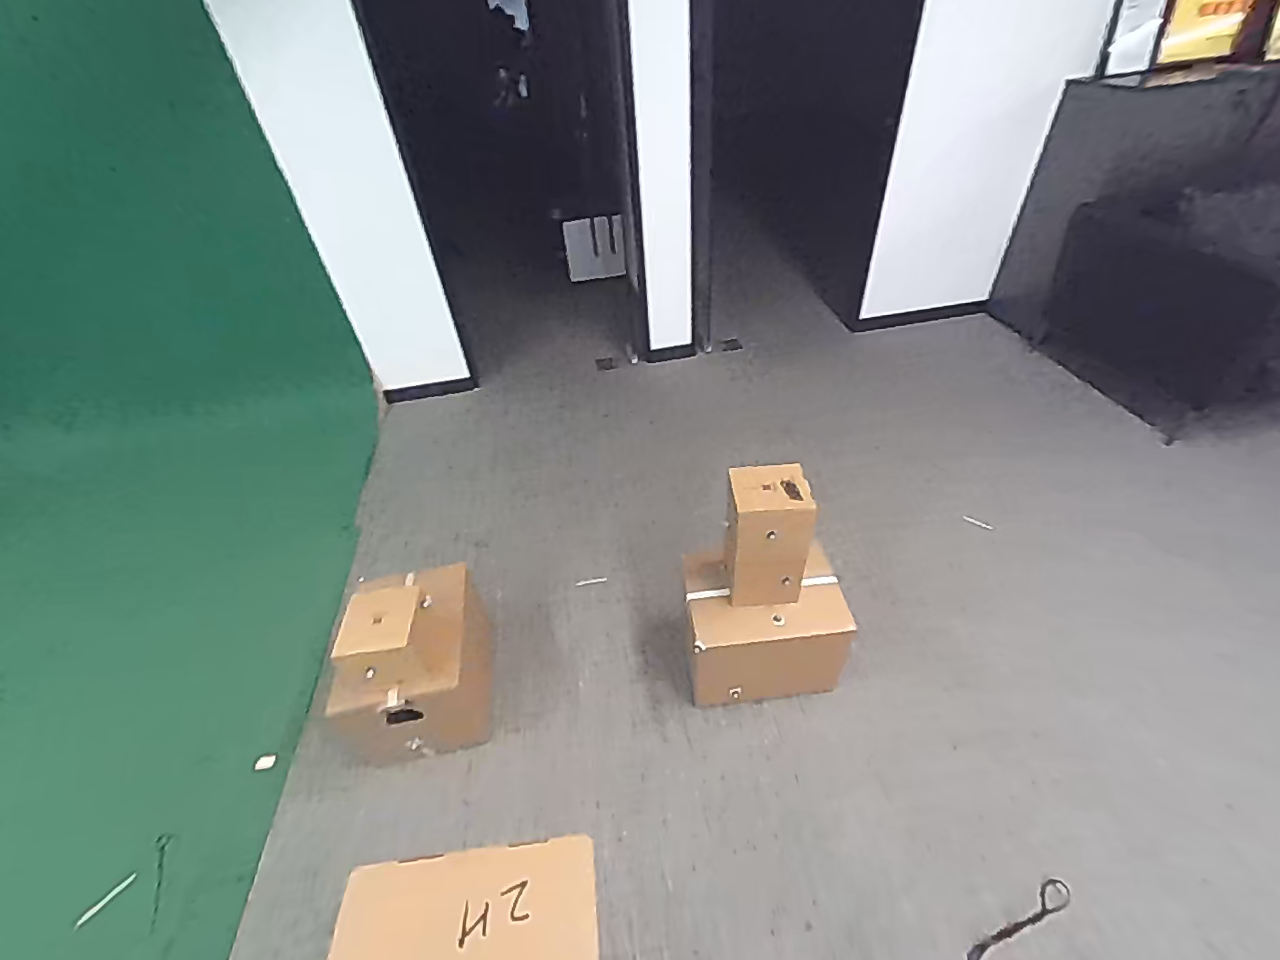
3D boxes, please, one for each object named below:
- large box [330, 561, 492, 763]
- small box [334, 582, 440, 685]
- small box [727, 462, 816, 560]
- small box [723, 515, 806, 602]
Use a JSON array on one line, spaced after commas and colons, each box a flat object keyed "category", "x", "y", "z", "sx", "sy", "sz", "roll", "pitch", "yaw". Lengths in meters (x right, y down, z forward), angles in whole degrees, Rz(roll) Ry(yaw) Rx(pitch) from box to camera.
[{"category": "large box", "x": -0.611, "y": 0.505, "z": 1.528, "sx": 0.320, "sy": 0.320, "sz": 0.408, "roll": -10, "pitch": 41, "yaw": -6}, {"category": "small box", "x": -0.597, "y": 0.375, "z": 1.302, "sx": 0.168, "sy": 0.176, "sz": 0.179, "roll": -7, "pitch": 40, "yaw": -4}, {"category": "small box", "x": 0.307, "y": 0.076, "z": 1.300, "sx": 0.179, "sy": 0.176, "sz": 0.168, "roll": -4, "pitch": 39, "yaw": 3}, {"category": "small box", "x": 0.316, "y": 0.200, "z": 1.408, "sx": 0.179, "sy": 0.176, "sz": 0.168, "roll": -4, "pitch": 39, "yaw": 1}]
